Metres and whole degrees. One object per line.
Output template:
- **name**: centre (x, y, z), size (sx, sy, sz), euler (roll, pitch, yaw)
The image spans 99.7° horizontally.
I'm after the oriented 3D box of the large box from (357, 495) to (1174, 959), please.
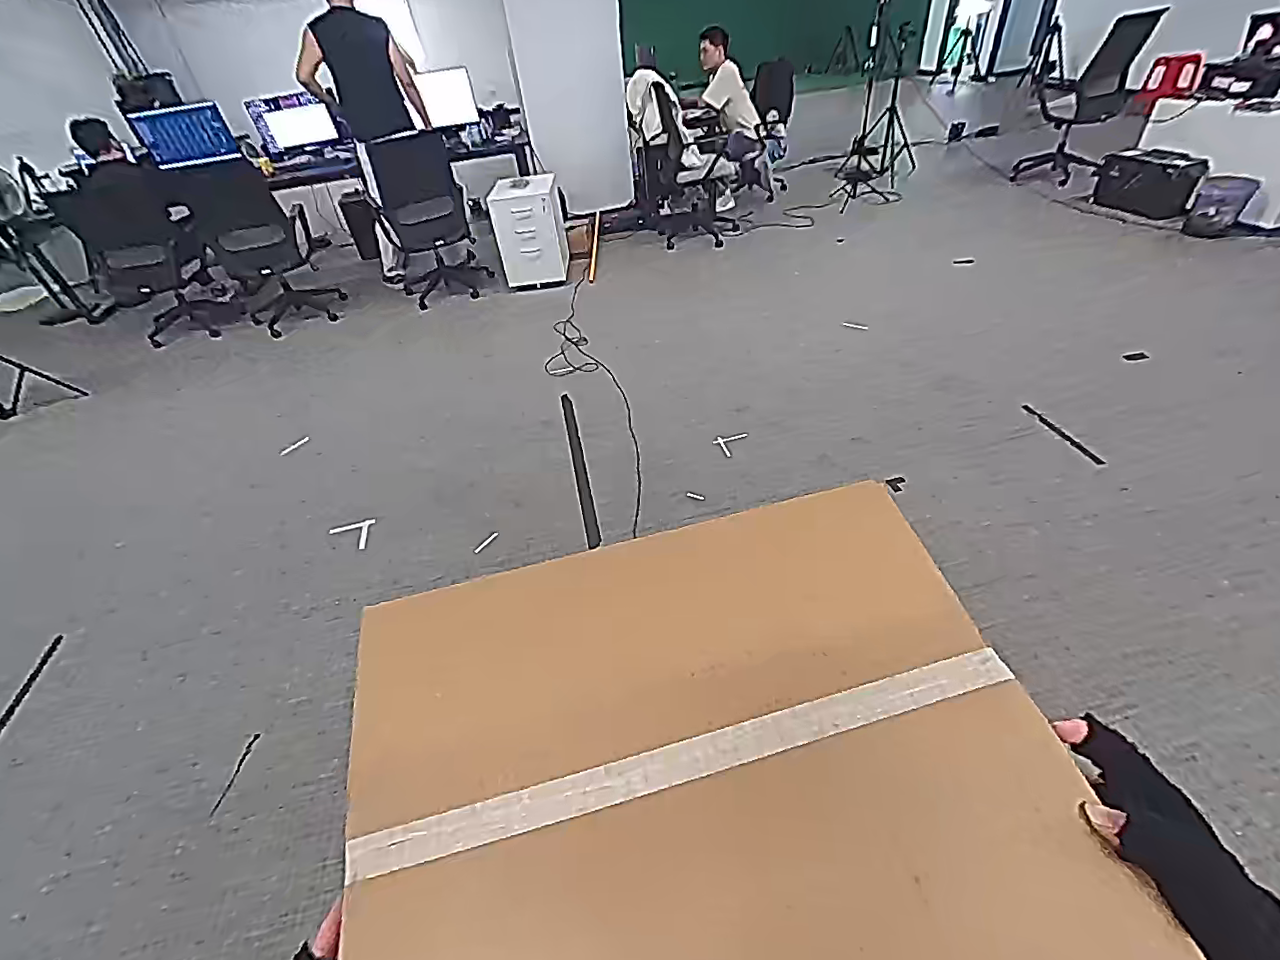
- **large box**: centre (0.045, 0.264, 0.445), size (0.408, 0.320, 0.320), euler (-14, 52, -6)
